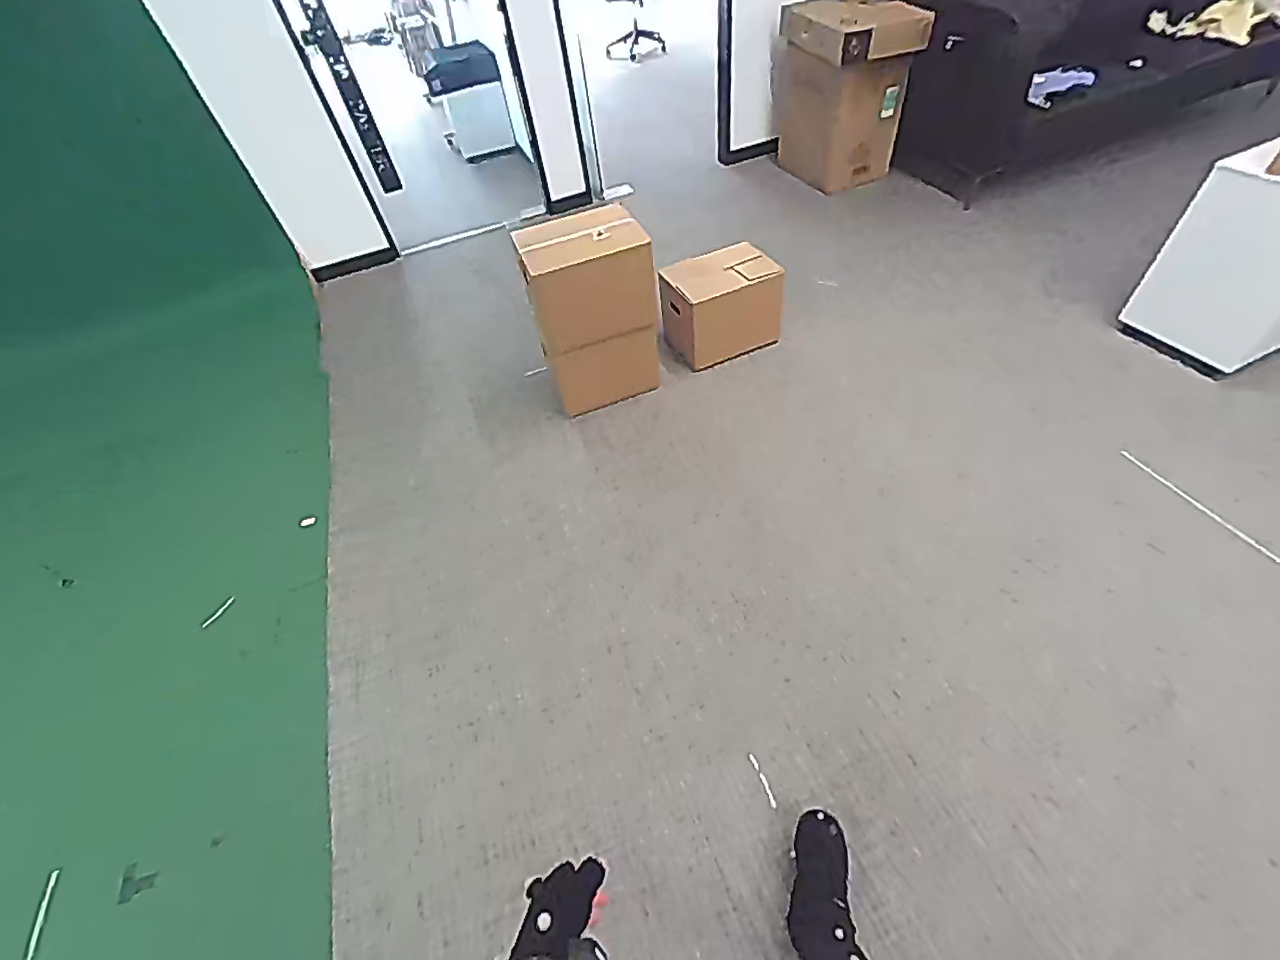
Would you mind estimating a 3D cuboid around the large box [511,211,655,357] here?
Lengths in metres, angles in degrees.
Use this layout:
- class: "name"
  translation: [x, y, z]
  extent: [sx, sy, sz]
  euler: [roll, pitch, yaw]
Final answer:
- class: "large box"
  translation: [-0.192, -0.684, 1.895]
  extent: [0.408, 0.320, 0.320]
  euler: [-19, 52, -10]
